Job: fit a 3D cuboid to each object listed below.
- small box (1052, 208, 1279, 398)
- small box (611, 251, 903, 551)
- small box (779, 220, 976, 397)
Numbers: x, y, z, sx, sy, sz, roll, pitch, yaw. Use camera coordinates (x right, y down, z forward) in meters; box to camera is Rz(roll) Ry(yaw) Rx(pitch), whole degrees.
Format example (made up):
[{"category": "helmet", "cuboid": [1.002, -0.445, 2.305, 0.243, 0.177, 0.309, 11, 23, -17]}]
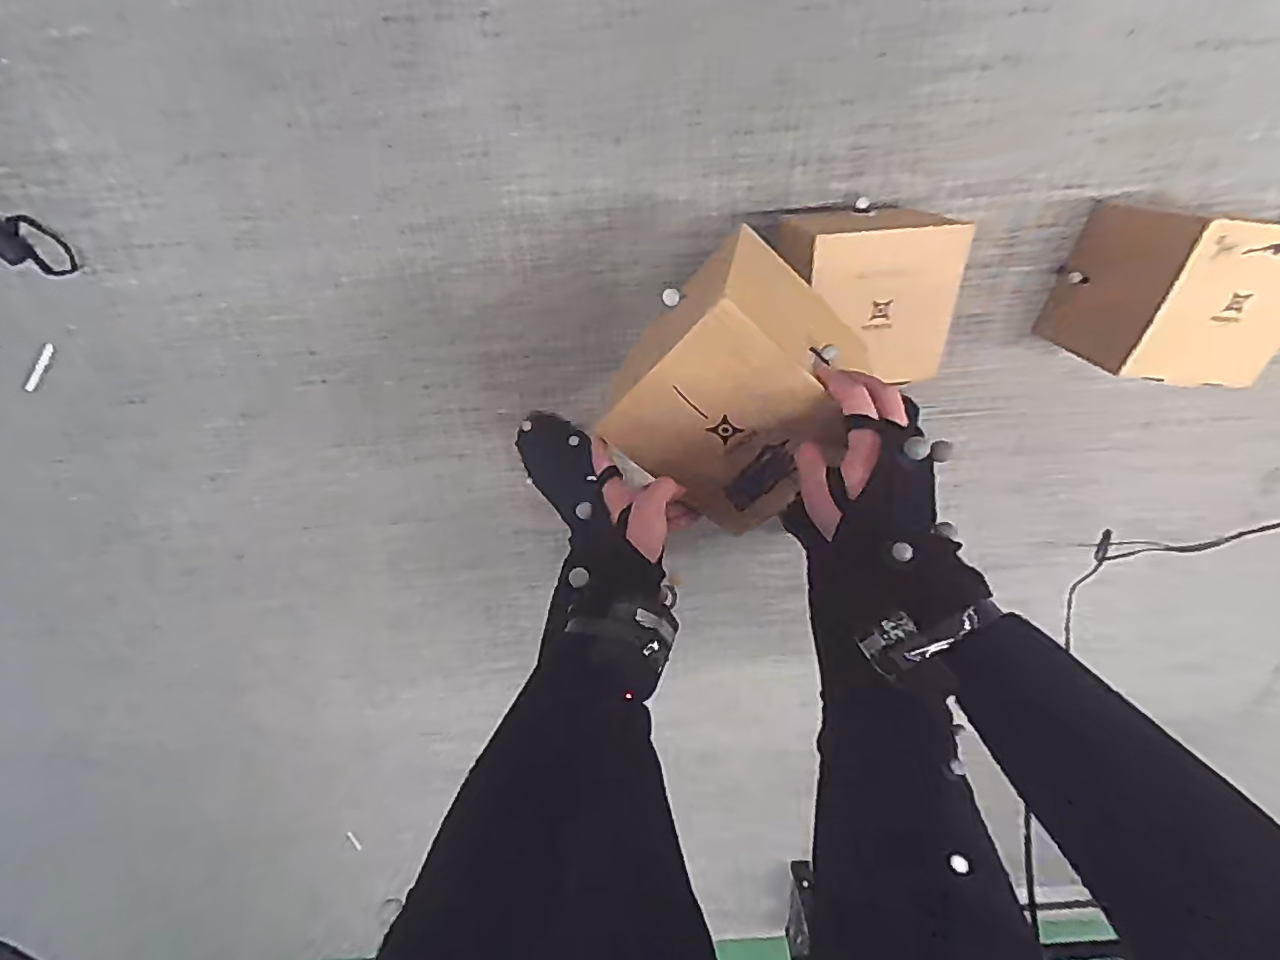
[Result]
[{"category": "small box", "cuboid": [0.659, -0.220, 0.662, 0.168, 0.176, 0.179, 4, 122, -2]}, {"category": "small box", "cuboid": [0.106, -0.073, 0.494, 0.179, 0.176, 0.168, 36, 130, -14]}, {"category": "small box", "cuboid": [0.269, -0.212, 0.667, 0.168, 0.176, 0.179, -5, 120, 1]}]
